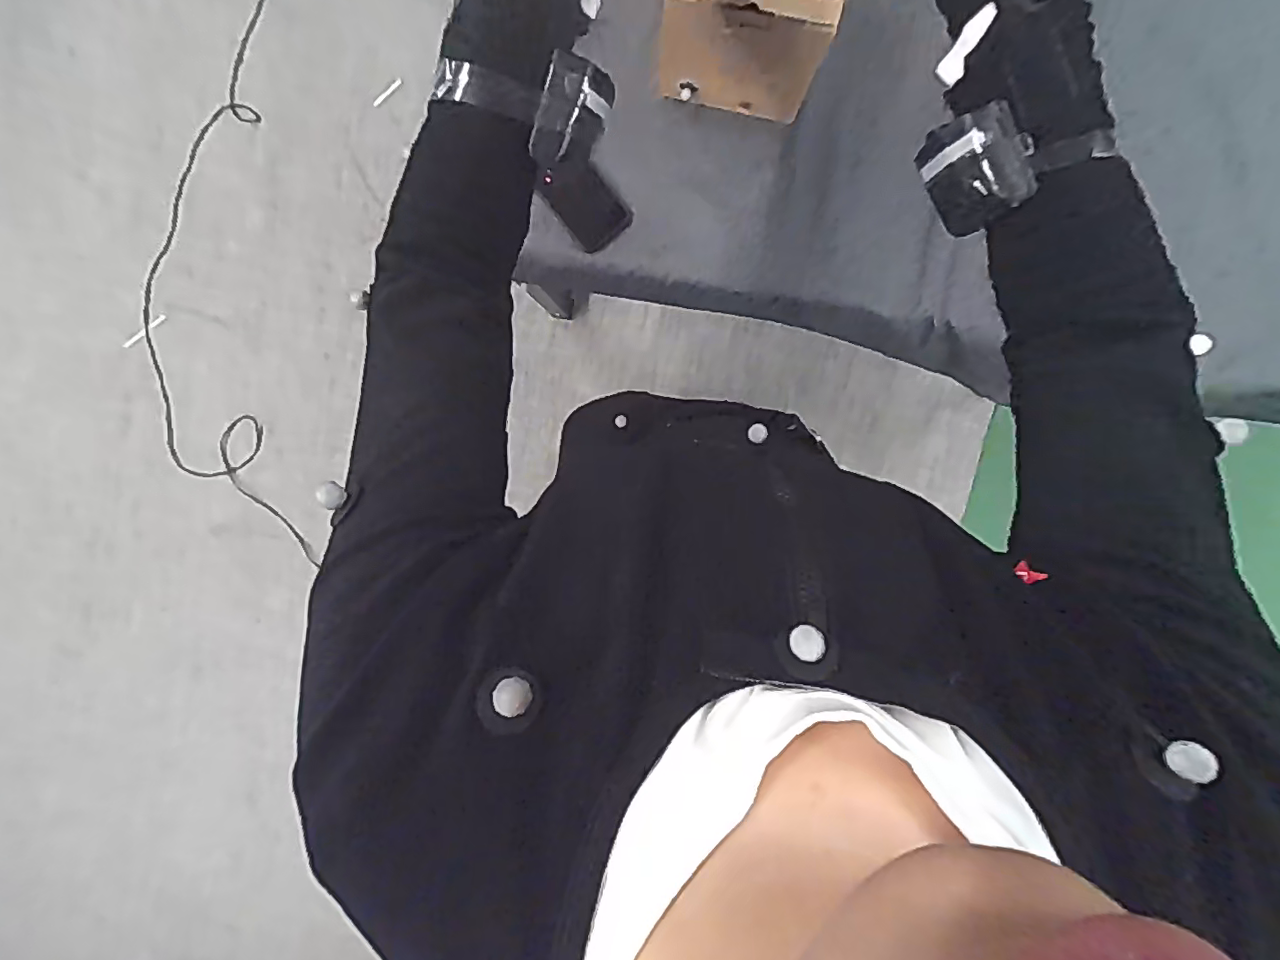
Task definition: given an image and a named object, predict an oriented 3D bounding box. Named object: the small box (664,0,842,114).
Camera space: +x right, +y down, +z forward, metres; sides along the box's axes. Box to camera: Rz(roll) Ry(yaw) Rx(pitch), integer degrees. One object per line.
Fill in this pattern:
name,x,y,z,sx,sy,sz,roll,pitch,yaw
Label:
small box,0.123,-0.527,0.565,0.168,0.176,0.179,13,97,-1
